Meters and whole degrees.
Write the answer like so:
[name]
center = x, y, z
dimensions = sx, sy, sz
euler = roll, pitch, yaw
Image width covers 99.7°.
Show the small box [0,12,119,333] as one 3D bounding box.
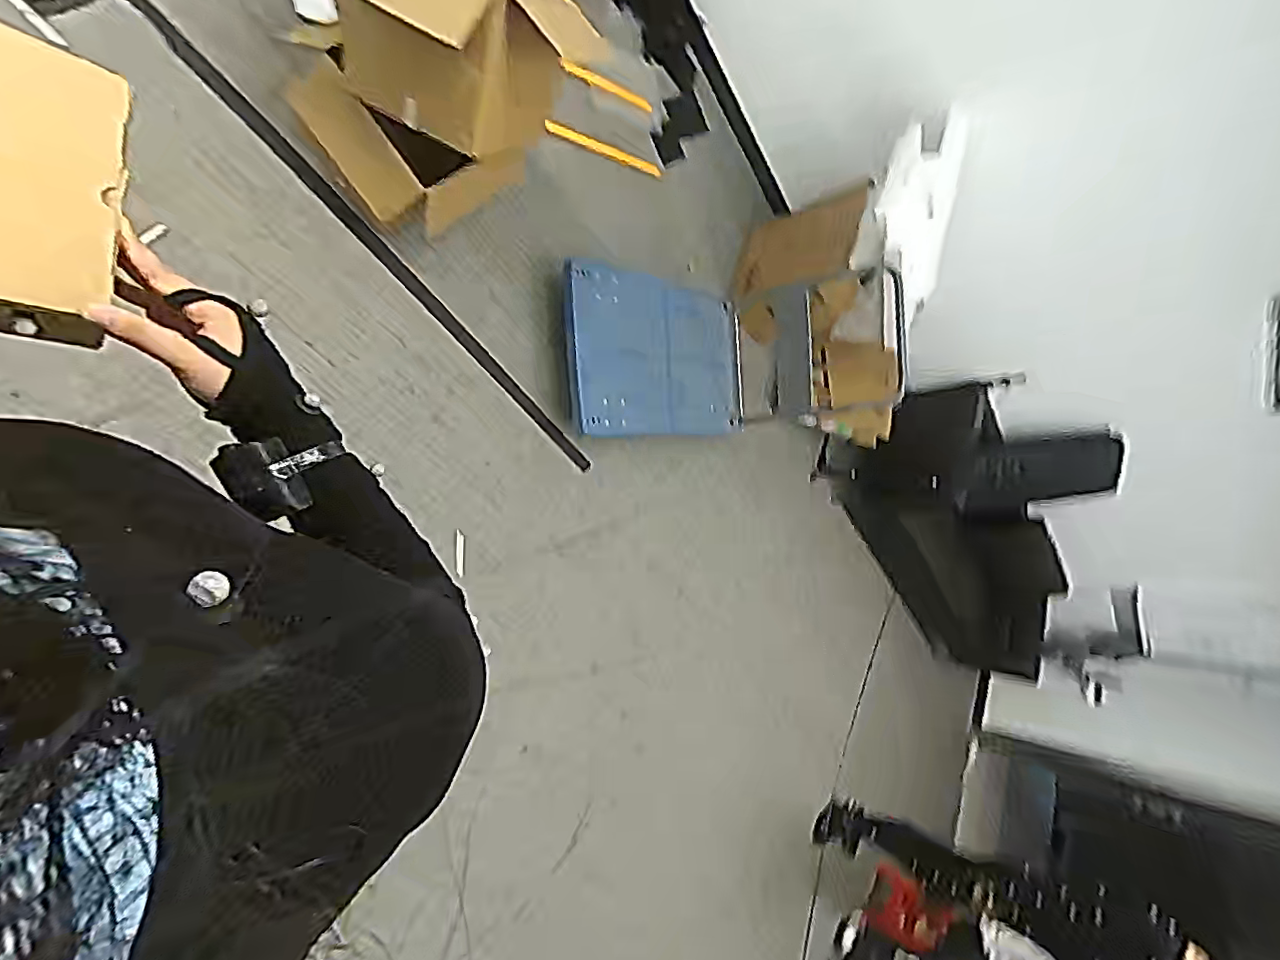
[small box]
center = -0.468, -0.201, 0.347
dimensions = 0.179, 0.176, 0.168
euler = 4, 90, -48
